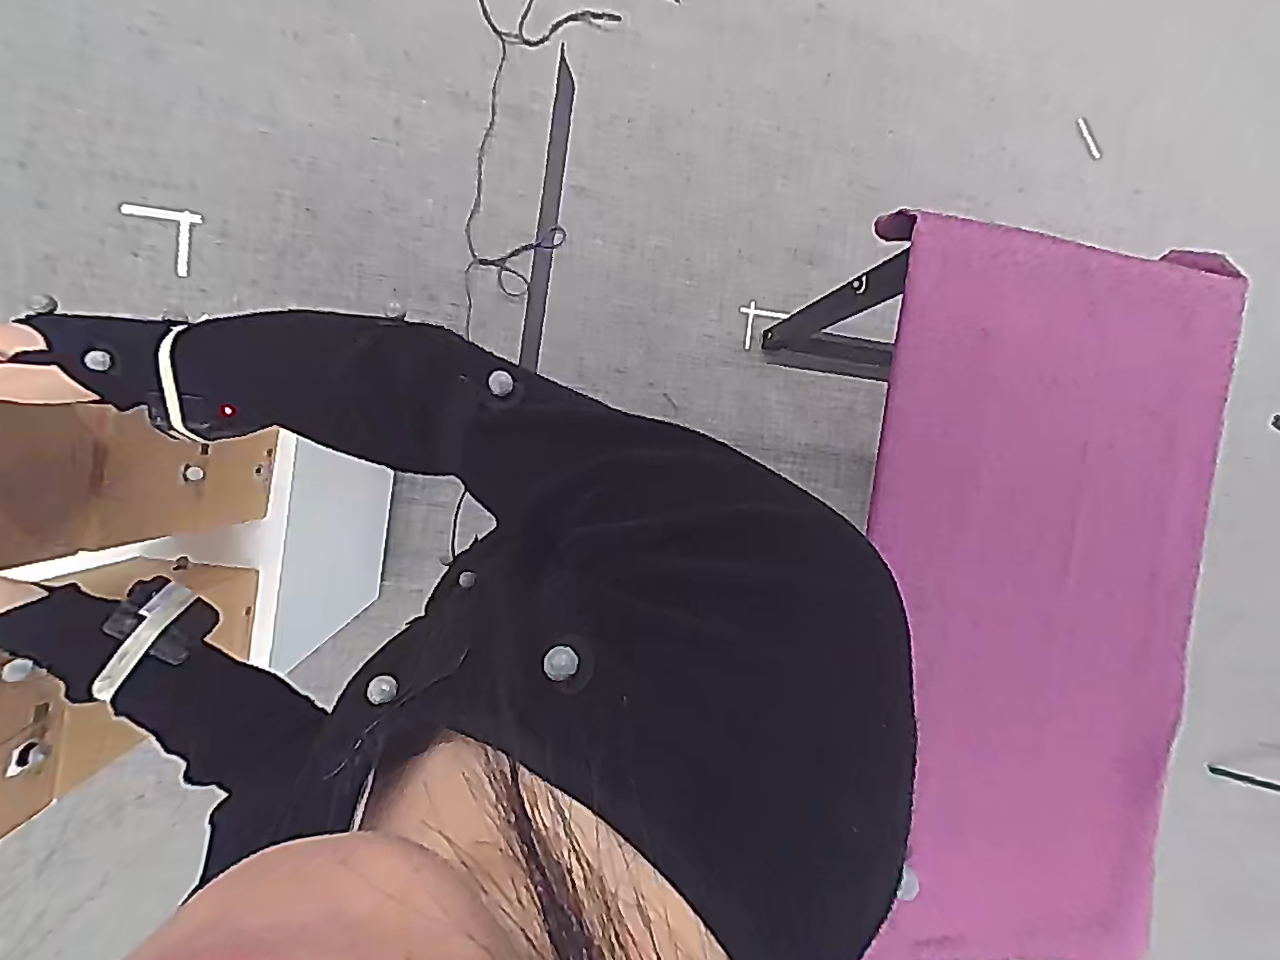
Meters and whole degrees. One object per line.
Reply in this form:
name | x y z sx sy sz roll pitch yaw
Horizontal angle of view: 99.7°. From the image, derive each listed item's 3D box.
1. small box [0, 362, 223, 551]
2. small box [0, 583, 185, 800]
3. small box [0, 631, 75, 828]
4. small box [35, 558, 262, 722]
small box | -0.603 -0.029 0.581 0.179 0.176 0.168 10 92 -10
small box | -0.647 0.216 0.589 0.179 0.176 0.168 7 92 -8
small box | -0.625 0.223 0.428 0.179 0.176 0.168 6 93 -9
small box | -0.672 0.209 0.749 0.179 0.176 0.168 8 92 -8
